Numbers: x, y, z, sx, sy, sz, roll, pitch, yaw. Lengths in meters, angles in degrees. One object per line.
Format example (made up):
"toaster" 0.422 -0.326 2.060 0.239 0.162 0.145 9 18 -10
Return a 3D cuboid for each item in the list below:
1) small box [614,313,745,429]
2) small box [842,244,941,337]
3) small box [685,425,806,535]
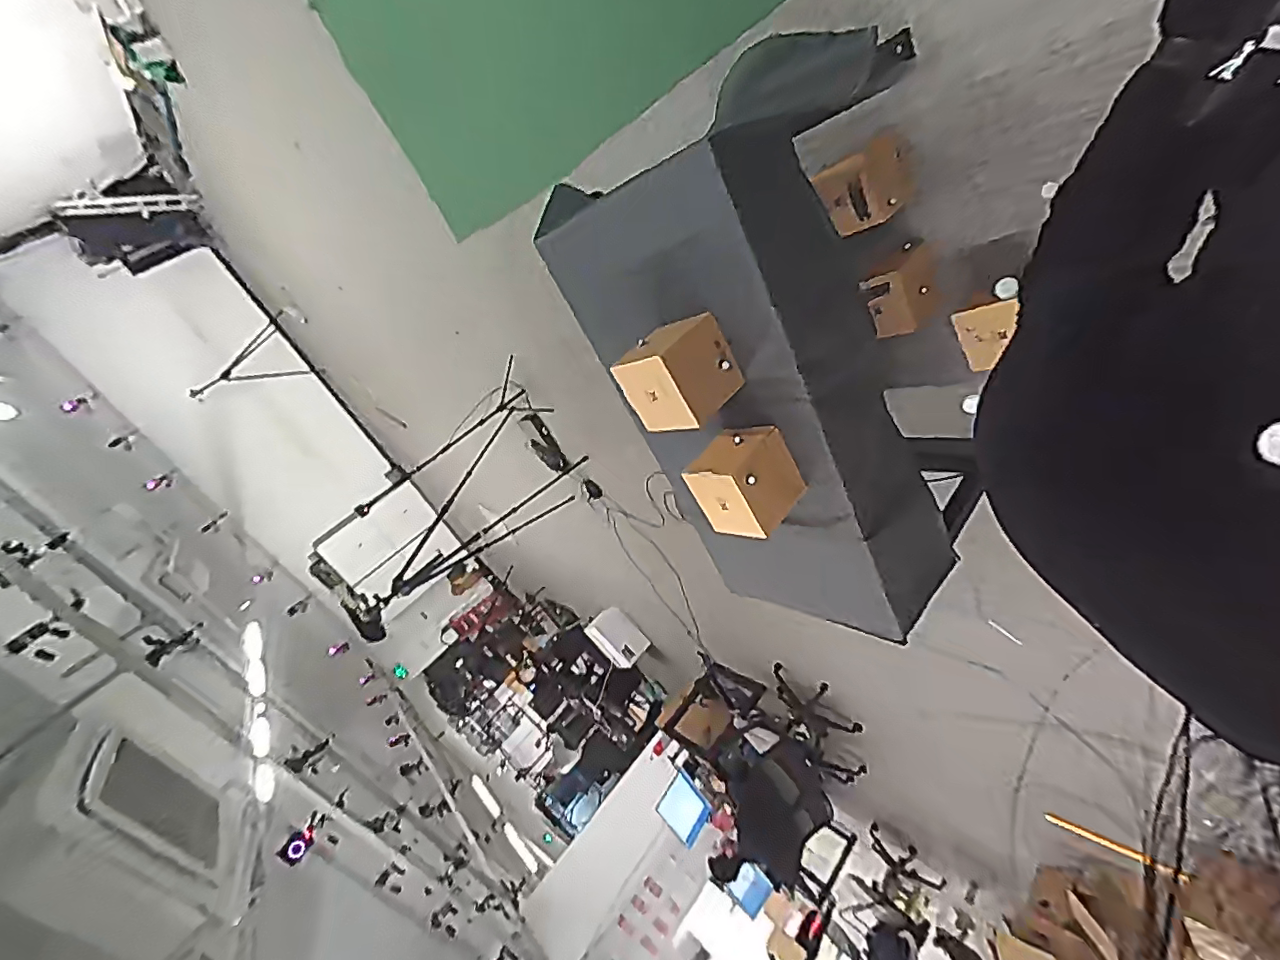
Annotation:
"small box" 0.084 -0.222 1.124 0.179 0.176 0.168 5 134 55
"small box" 0.687 -0.518 1.471 0.168 0.176 0.179 6 135 54
"small box" 0.240 -0.003 1.212 0.168 0.176 0.179 2 131 57
